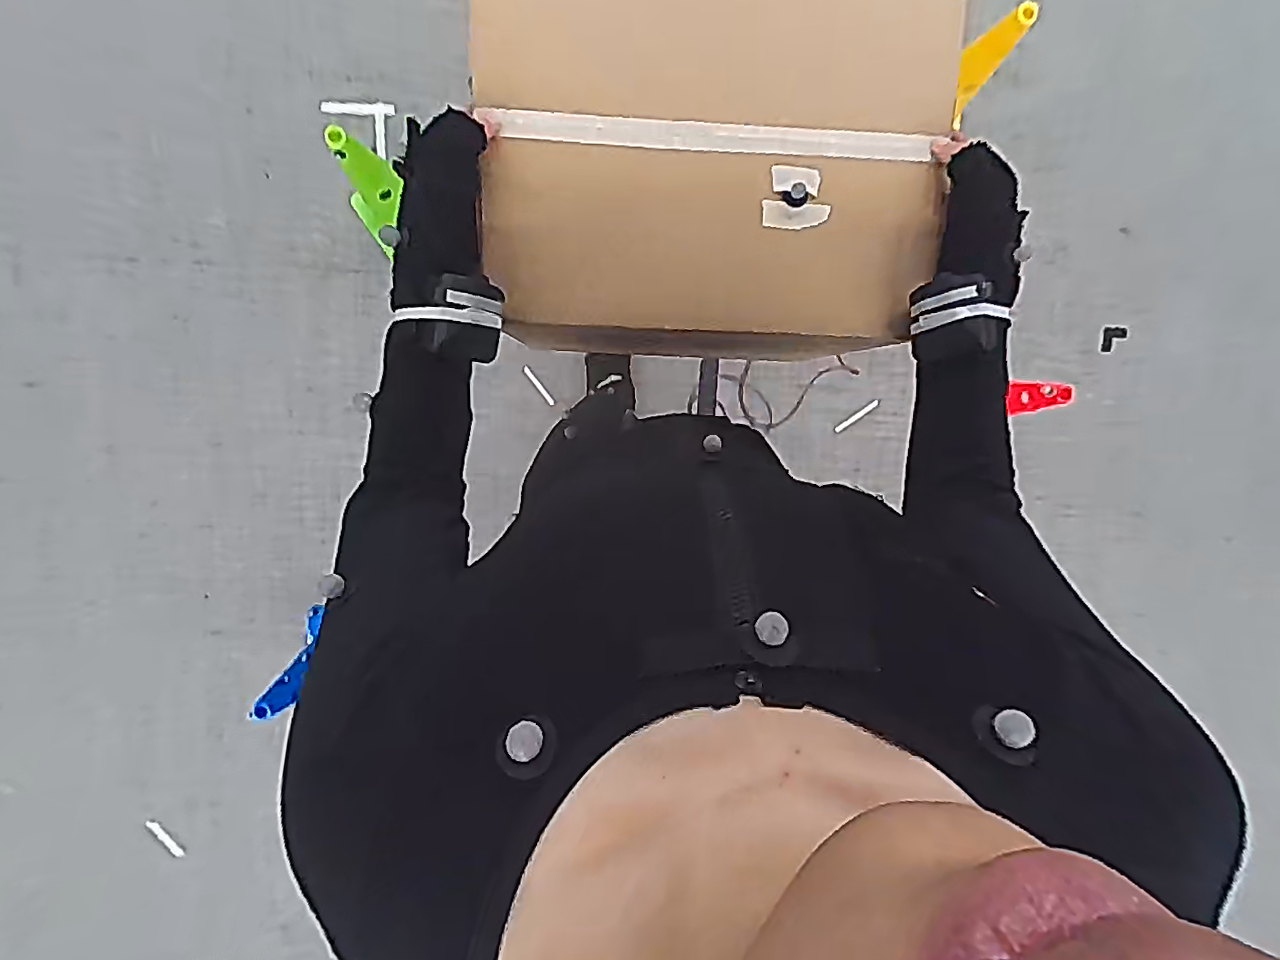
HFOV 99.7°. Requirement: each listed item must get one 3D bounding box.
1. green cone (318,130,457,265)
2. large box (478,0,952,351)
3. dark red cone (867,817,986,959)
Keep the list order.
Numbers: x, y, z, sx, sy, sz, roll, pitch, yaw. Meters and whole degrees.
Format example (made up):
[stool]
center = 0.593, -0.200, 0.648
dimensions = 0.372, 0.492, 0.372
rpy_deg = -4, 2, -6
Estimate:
[green cone]
center = -0.579, -0.652, 1.175
dimensions = 0.202, 0.368, 0.200
rpy_deg = -35, 96, 2
[large box]
center = 0.054, -0.319, 0.607
dimensions = 0.408, 0.320, 0.320
rpy_deg = 1, 99, -5
[dark red cone]
center = 0.767, 1.086, 1.398
dimensions = 0.201, 0.394, 0.202
rpy_deg = 8, 95, -3
